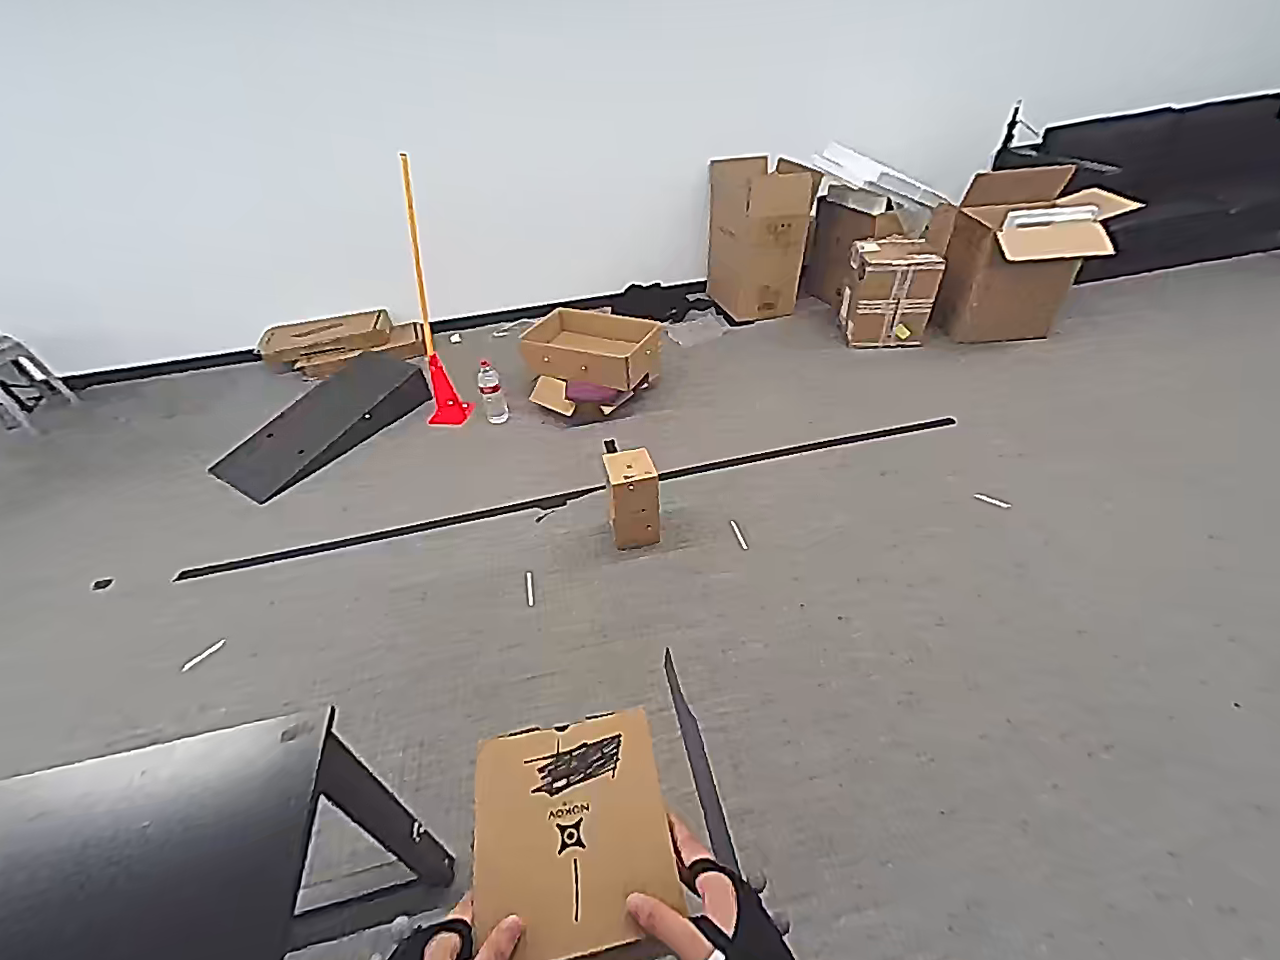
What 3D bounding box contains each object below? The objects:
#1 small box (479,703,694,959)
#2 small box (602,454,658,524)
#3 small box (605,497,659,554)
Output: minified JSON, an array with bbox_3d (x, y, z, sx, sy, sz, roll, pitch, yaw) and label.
[{"bbox_3d":[-0.051,0.348,0.519,0.168,0.176,0.179,-10,44,-6],"label":"small box"},{"bbox_3d":[-0.035,0.031,1.958,0.168,0.176,0.179,-12,39,-9],"label":"small box"},{"bbox_3d":[-0.026,0.157,2.064,0.179,0.176,0.168,-12,39,-7],"label":"small box"}]
